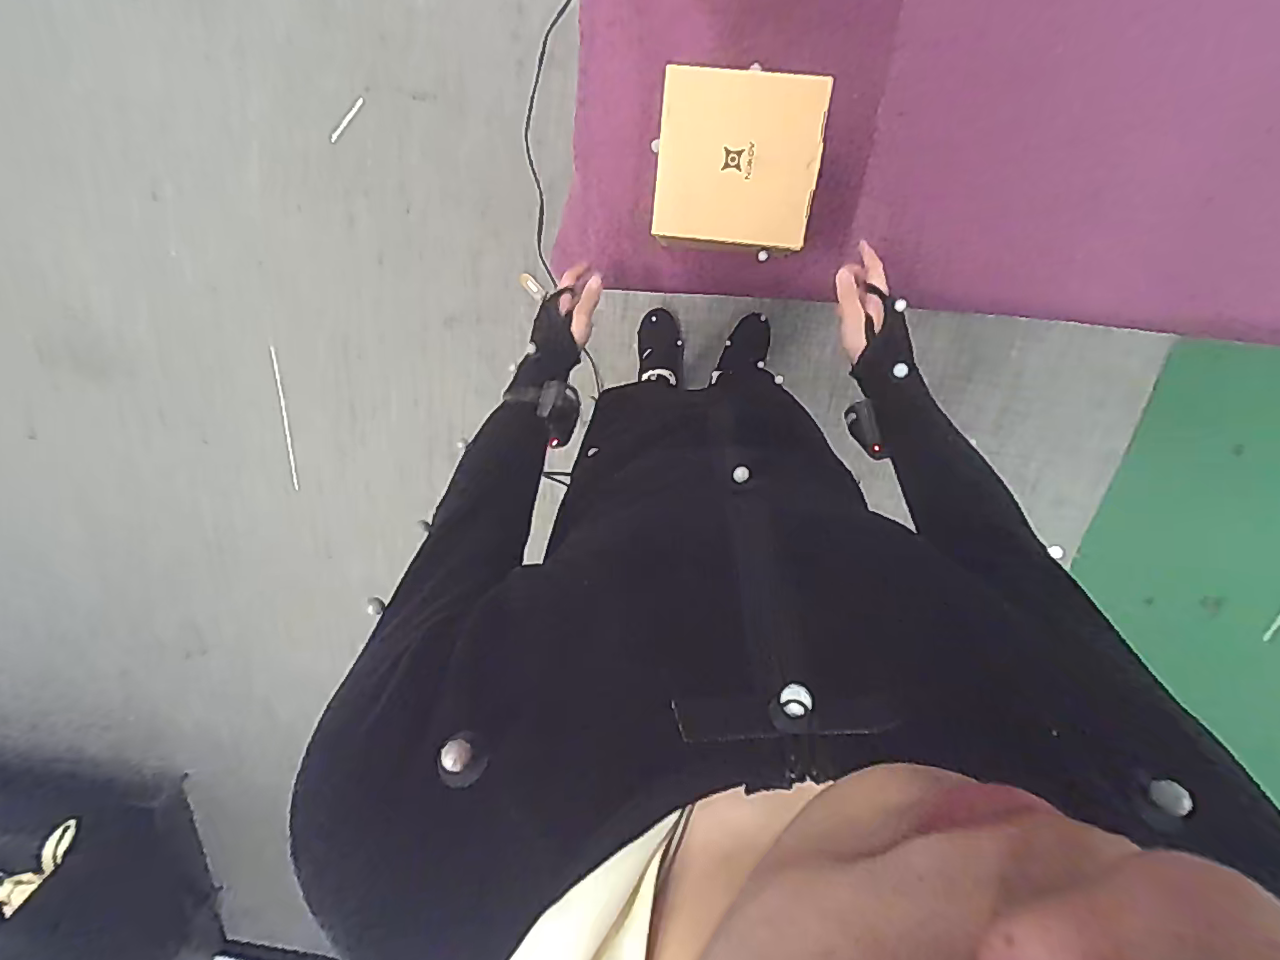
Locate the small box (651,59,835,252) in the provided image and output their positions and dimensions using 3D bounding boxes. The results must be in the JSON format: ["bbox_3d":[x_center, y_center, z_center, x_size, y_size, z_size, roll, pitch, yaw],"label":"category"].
[{"bbox_3d":[0.113,-0.376,0.657,0.179,0.176,0.168,7,110,3],"label":"small box"}]

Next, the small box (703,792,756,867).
[{"bbox_3d":[0.340,1.342,2.086,0.179,0.176,0.168,7,113,3],"label":"small box"}]
